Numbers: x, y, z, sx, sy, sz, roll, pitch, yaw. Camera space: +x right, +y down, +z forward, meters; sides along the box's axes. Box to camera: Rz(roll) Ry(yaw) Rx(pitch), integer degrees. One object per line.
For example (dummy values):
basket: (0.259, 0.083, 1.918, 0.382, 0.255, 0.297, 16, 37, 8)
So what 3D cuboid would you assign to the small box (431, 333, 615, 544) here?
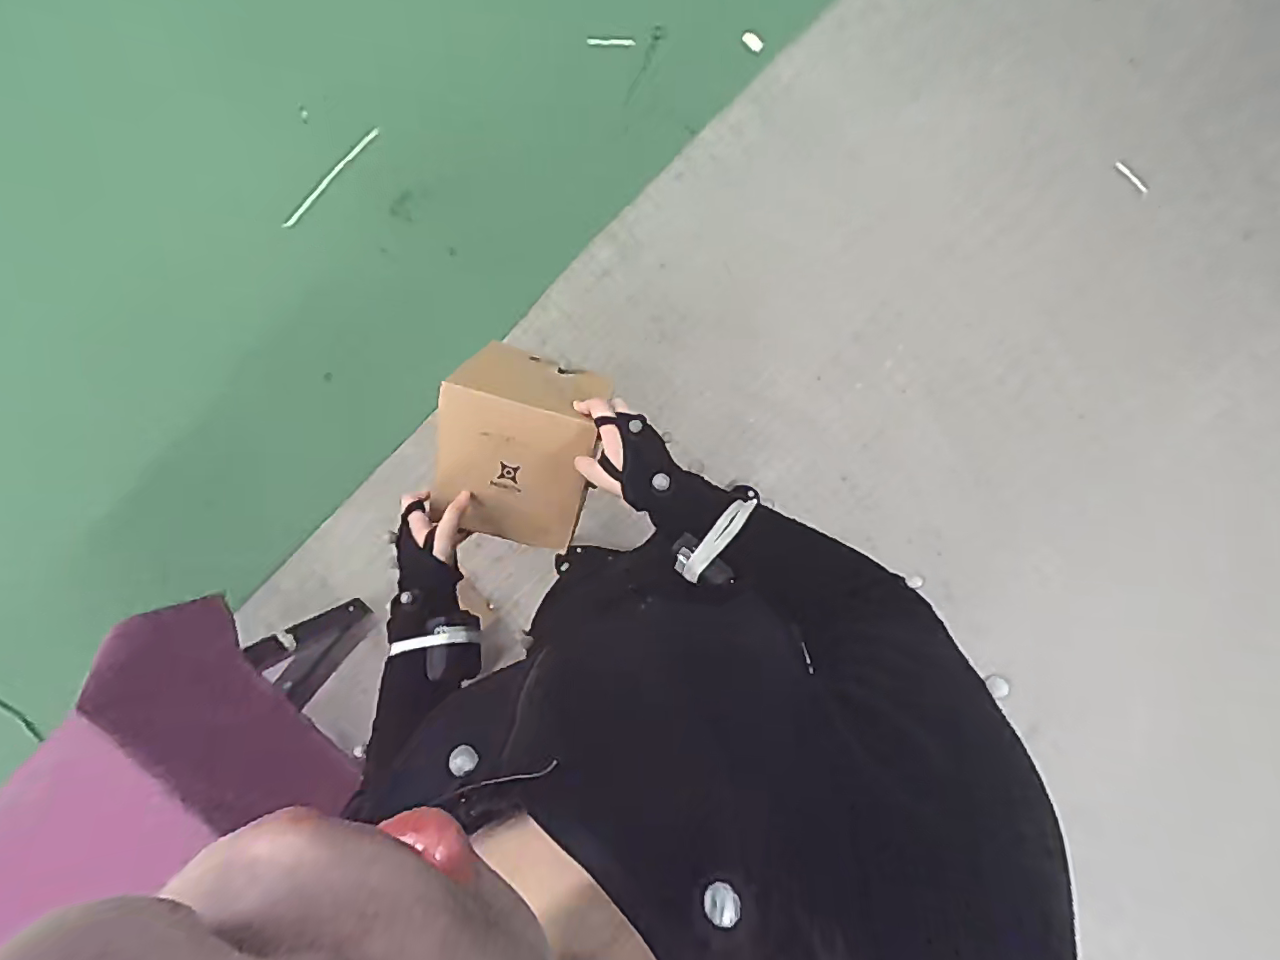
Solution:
small box: (-0.135, -0.057, 0.663, 0.168, 0.176, 0.179, 18, 119, -5)
